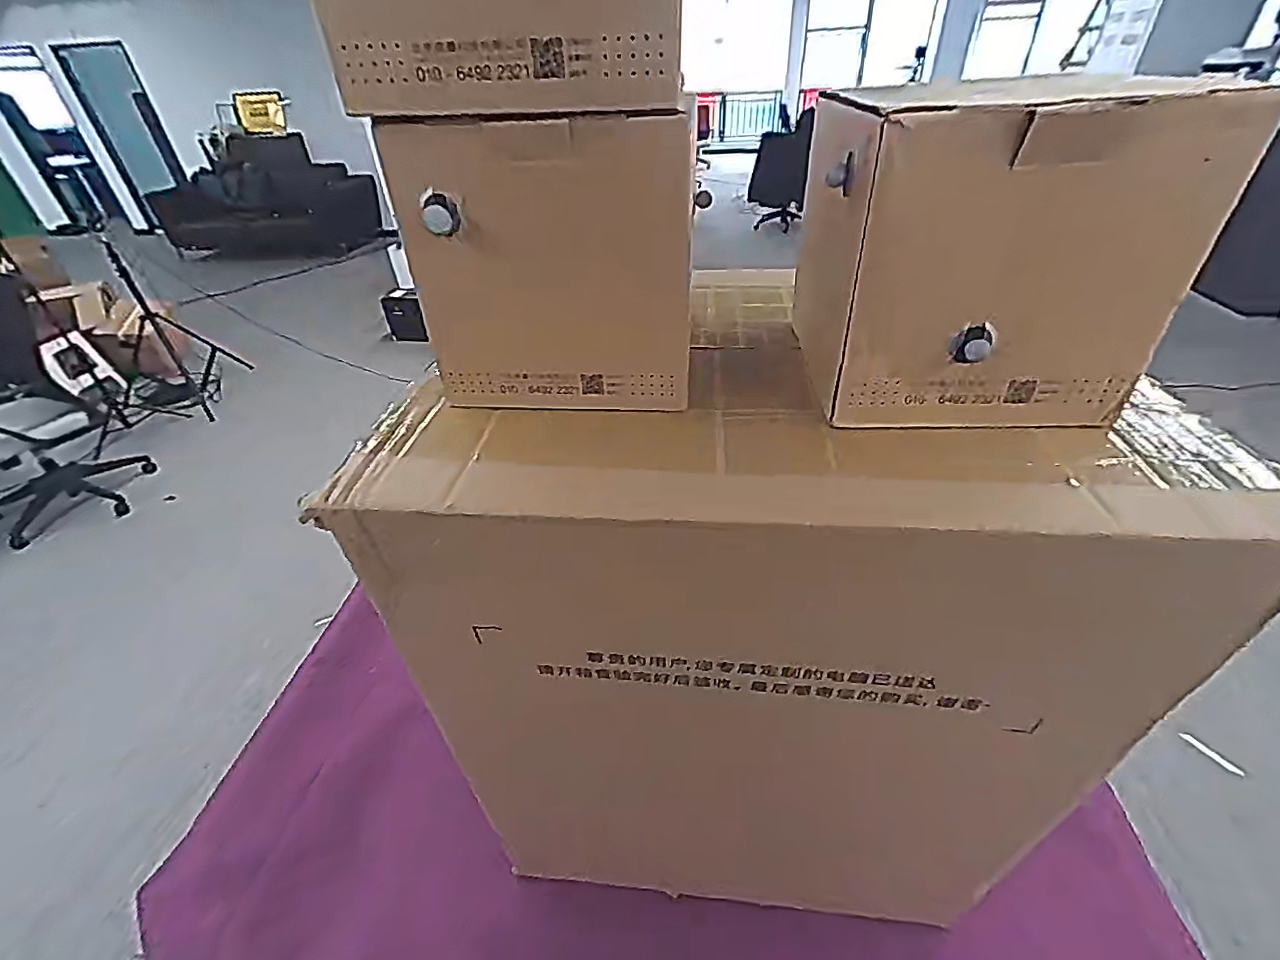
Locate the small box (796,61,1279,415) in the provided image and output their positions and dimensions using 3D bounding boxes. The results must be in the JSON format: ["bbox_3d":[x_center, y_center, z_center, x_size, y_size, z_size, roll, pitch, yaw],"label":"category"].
[{"bbox_3d":[0.202,-0.156,0.347,0.168,0.176,0.179,-1,38,5],"label":"small box"}]

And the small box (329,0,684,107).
[{"bbox_3d":[-0.060,-0.297,0.277,0.168,0.176,0.179,1,37,3],"label":"small box"}]
